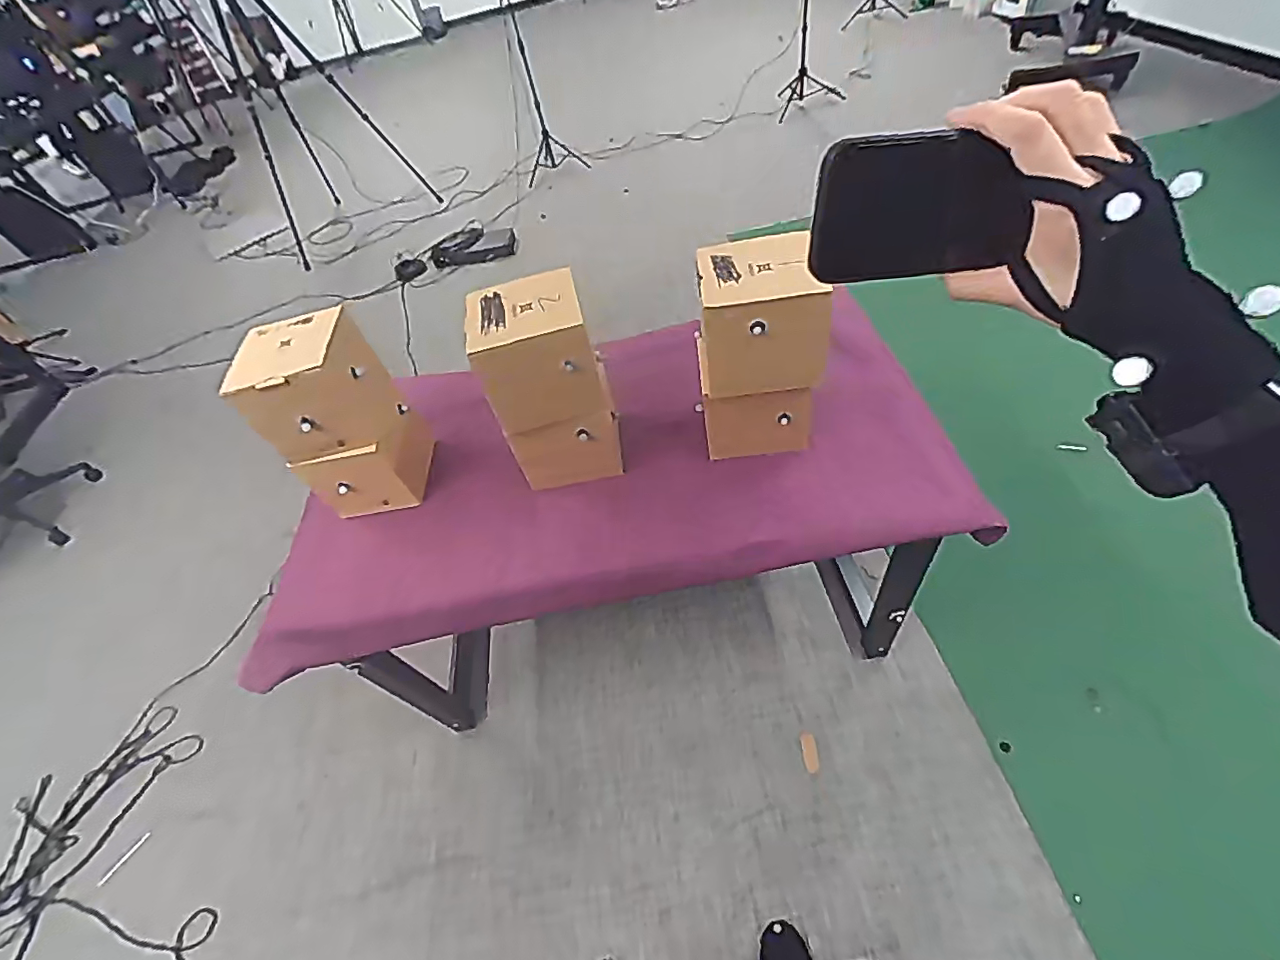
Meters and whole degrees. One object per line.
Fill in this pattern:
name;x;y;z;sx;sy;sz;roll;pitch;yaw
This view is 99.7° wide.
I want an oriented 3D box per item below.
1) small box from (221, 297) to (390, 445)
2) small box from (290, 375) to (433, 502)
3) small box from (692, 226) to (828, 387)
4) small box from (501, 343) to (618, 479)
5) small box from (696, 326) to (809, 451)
small box;-0.553;-0.177;0.925;0.168;0.176;0.179;-13;52;1
small box;-0.525;-0.071;1.047;0.168;0.176;0.179;-10;51;5
small box;0.178;-0.259;0.832;0.179;0.176;0.168;-5;51;8
small box;-0.140;-0.123;1.003;0.179;0.176;0.168;-10;51;4
small box;0.196;-0.170;0.969;0.179;0.176;0.168;-5;51;9
